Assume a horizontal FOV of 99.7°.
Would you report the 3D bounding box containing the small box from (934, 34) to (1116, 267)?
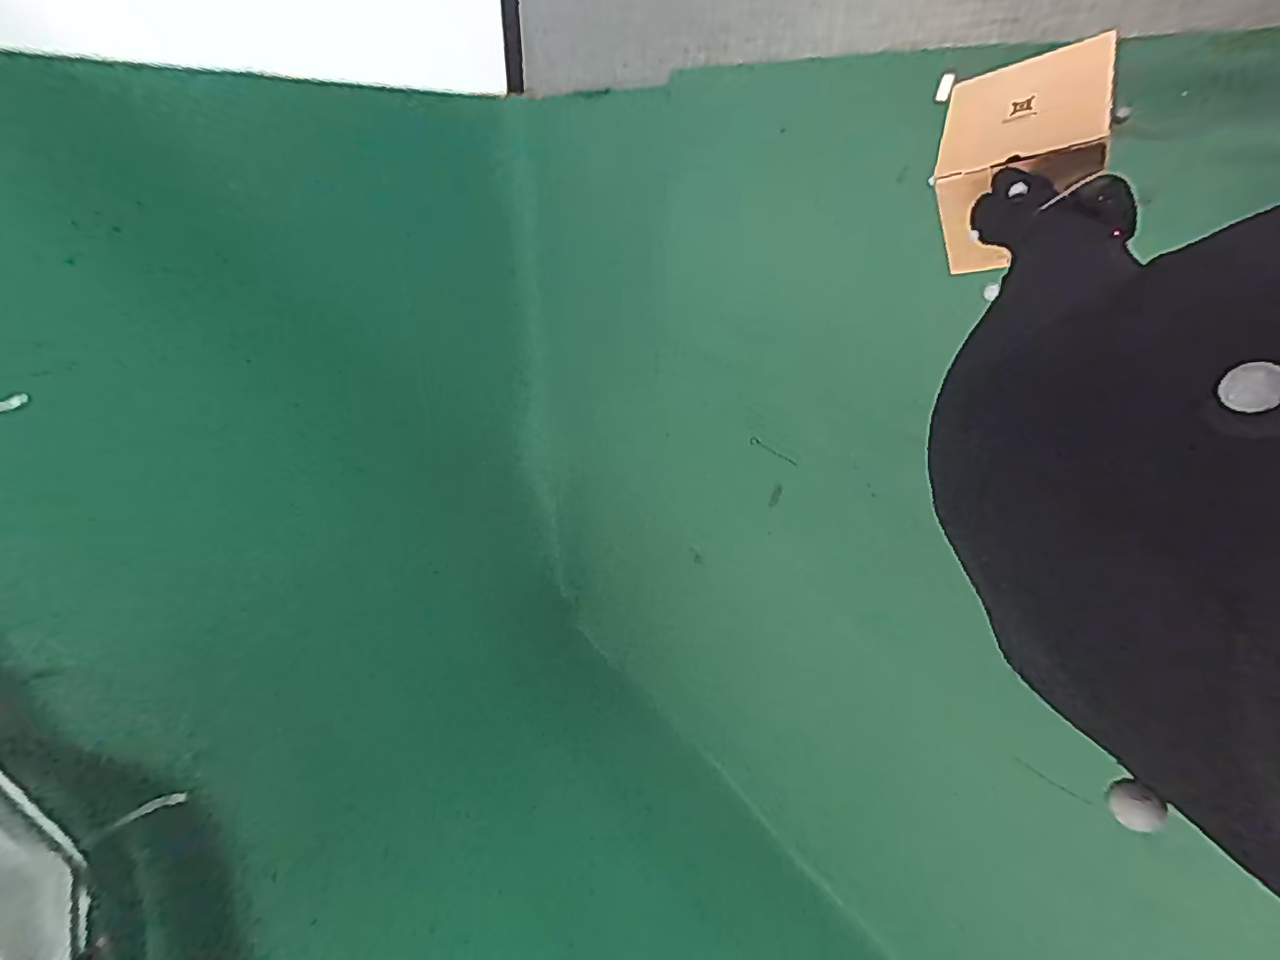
[{"bbox_3d":[0.501,-0.415,0.710,0.168,0.176,0.179,6,68,38],"label":"small box"}]
